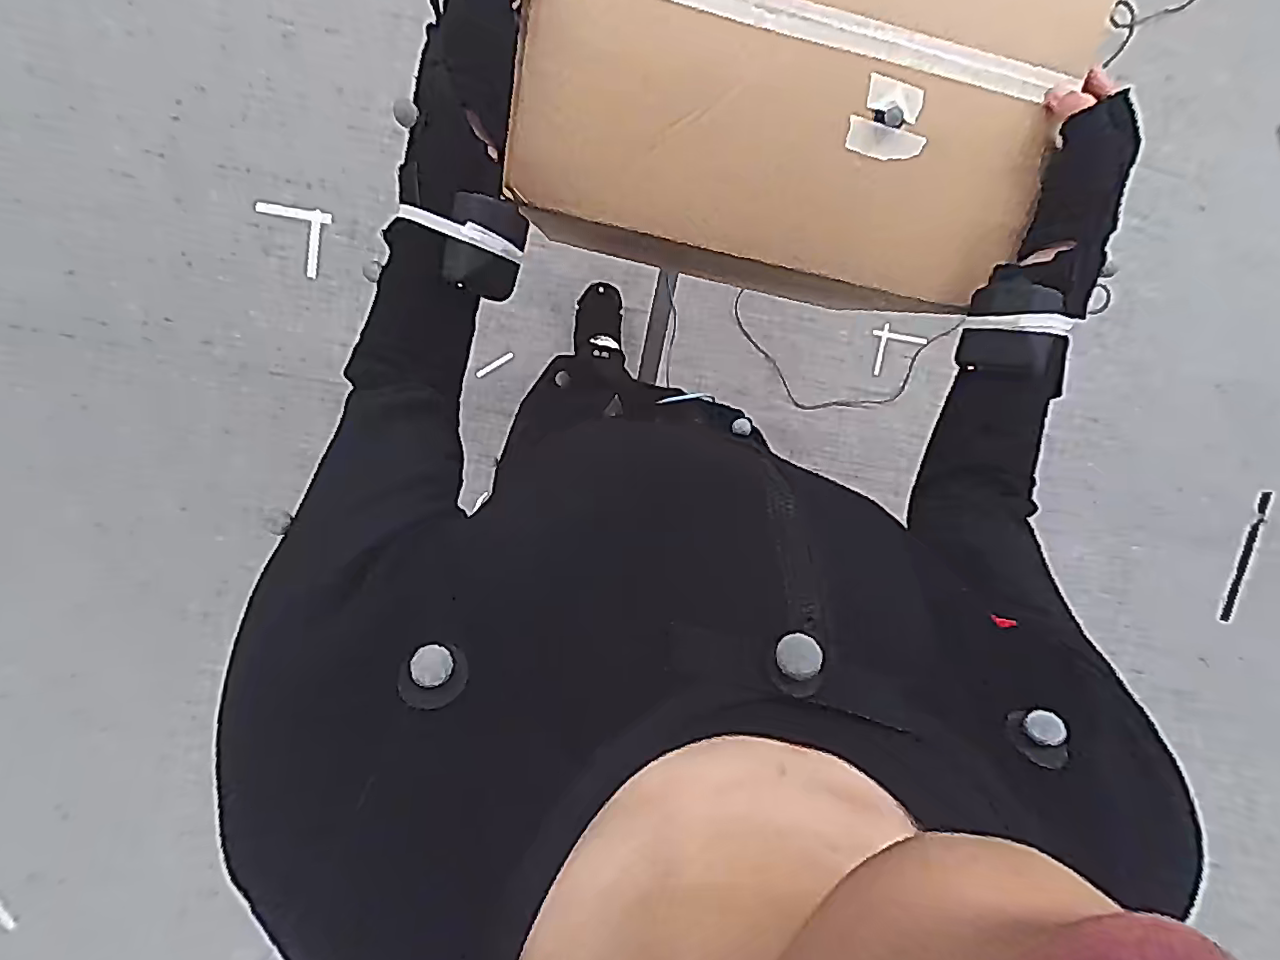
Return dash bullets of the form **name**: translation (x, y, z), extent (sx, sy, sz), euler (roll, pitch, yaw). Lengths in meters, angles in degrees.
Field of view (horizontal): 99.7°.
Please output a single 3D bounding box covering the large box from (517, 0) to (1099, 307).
- **large box**: translation (0.115, -0.367, 0.530), extent (0.408, 0.320, 0.320), euler (10, 109, -8)
